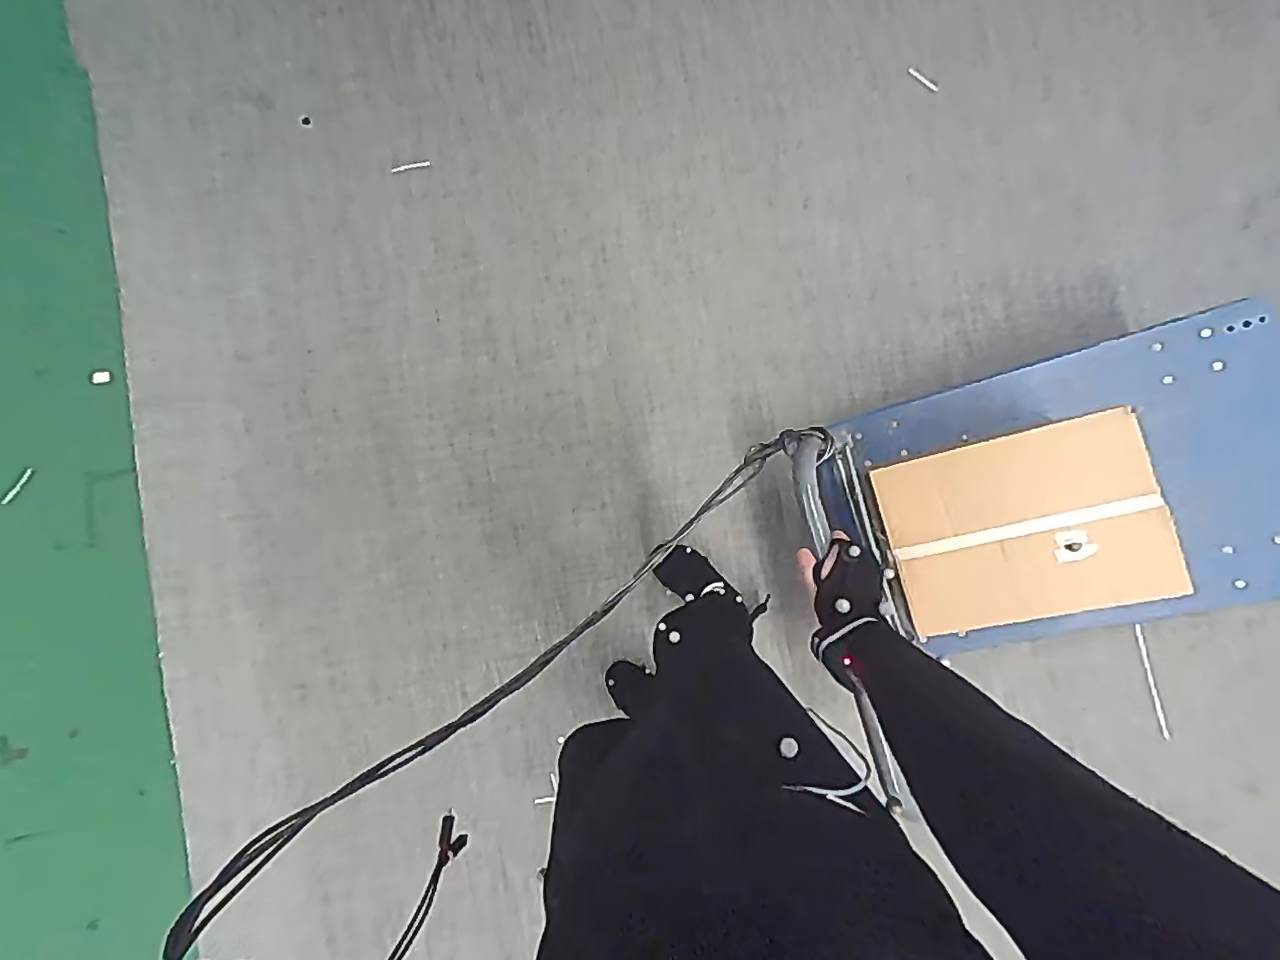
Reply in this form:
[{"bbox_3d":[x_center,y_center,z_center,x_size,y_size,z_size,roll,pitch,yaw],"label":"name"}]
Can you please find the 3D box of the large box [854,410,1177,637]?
[{"bbox_3d":[0.678,0.084,1.065,0.408,0.320,0.320,-15,87,17],"label":"large box"}]
